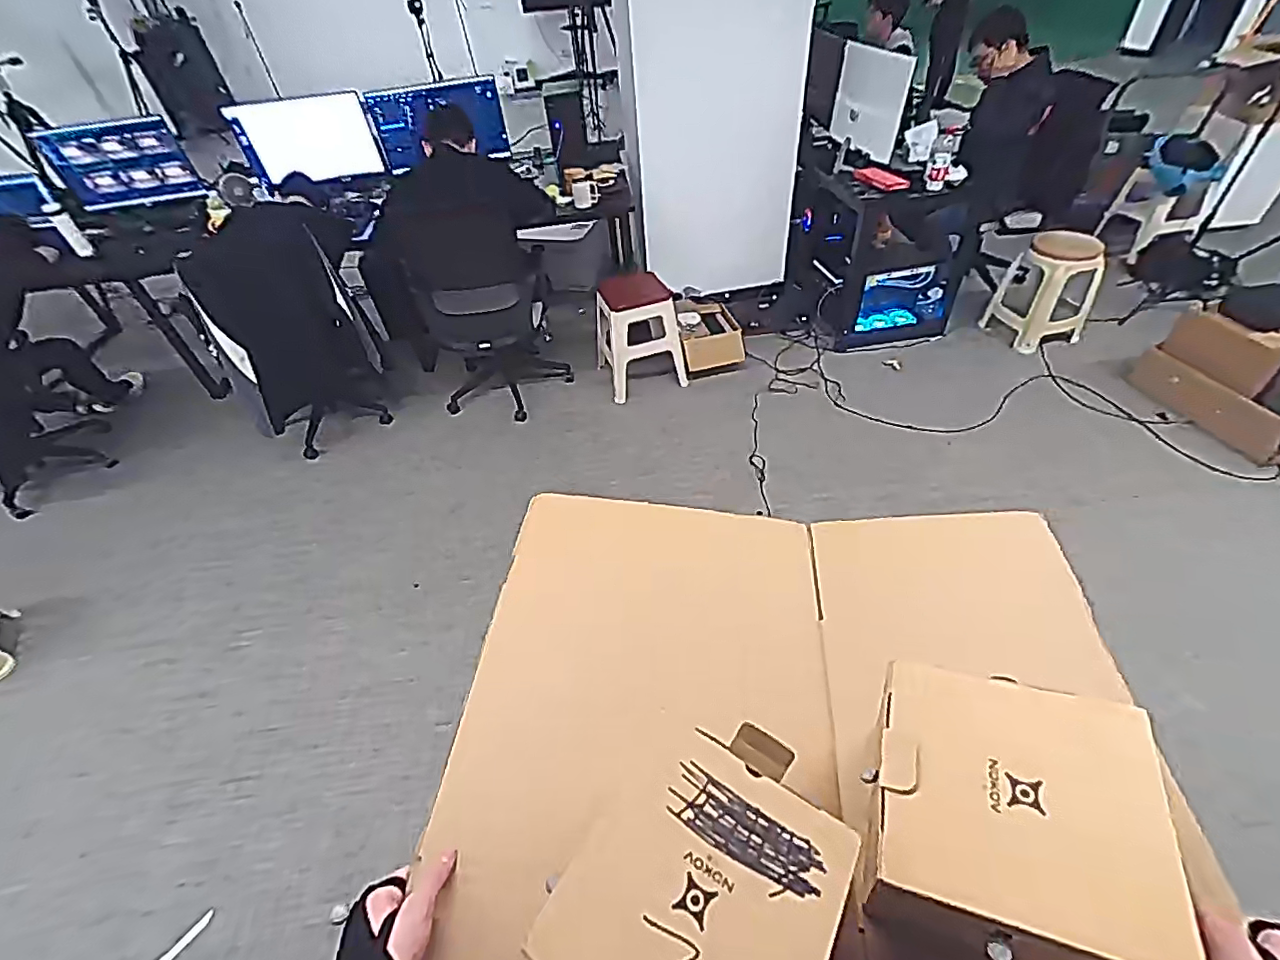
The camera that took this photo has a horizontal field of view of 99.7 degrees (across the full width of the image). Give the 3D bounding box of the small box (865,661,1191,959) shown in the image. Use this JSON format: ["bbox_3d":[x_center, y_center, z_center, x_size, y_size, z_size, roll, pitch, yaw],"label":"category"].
[{"bbox_3d":[0.293,0.280,0.454,0.179,0.176,0.168,5,50,24],"label":"small box"}]
